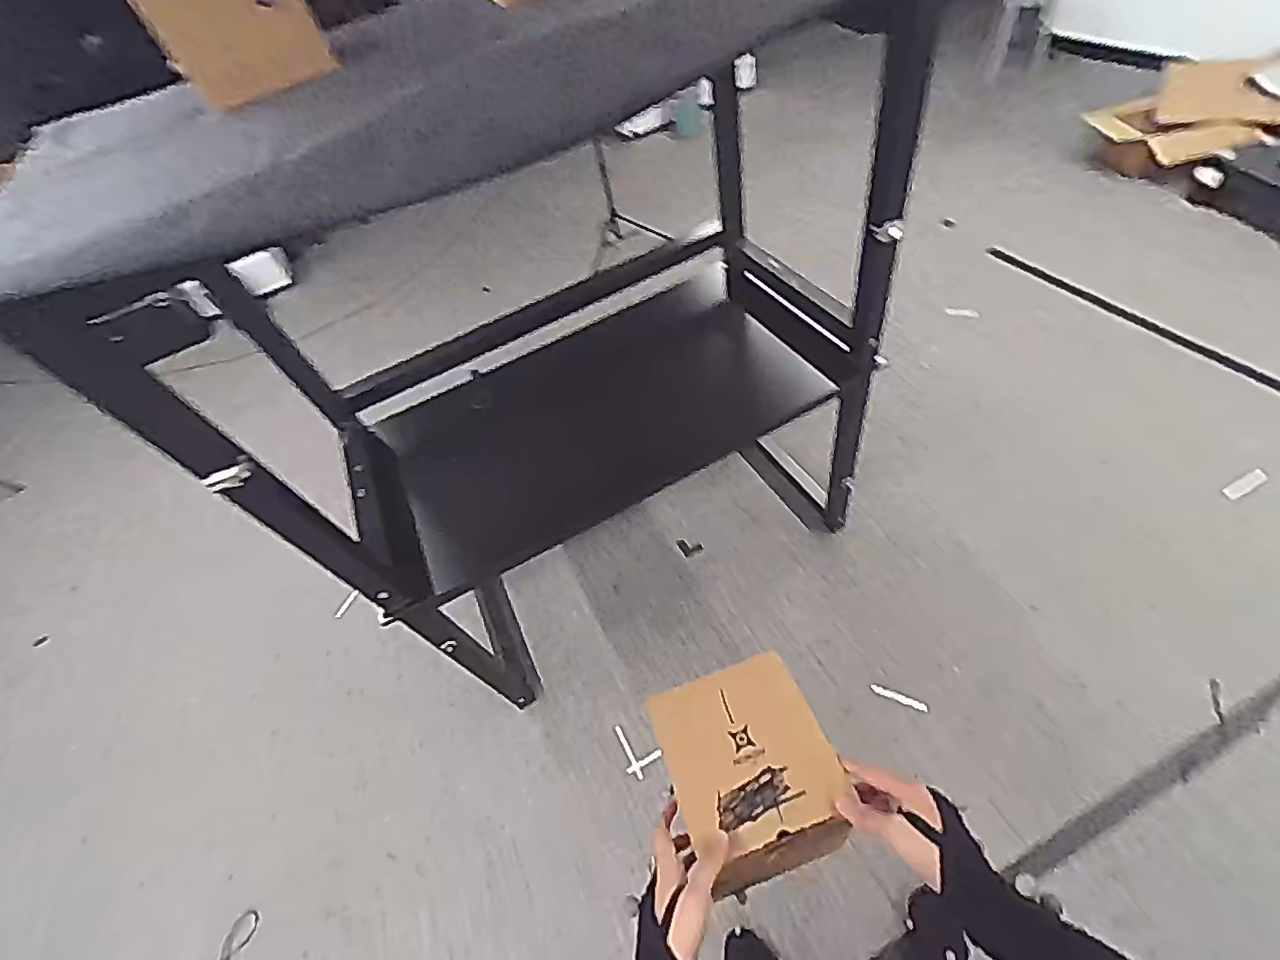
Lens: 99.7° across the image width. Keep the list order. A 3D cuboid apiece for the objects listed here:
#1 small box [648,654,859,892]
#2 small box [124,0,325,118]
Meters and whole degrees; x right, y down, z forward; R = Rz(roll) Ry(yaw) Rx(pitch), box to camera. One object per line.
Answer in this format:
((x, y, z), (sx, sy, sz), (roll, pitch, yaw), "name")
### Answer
((0.121, 0.339, 0.619), (0.168, 0.176, 0.179), (-18, 44, -7), "small box")
((-0.541, -0.610, 0.705), (0.179, 0.176, 0.168), (-30, 53, -11), "small box")
